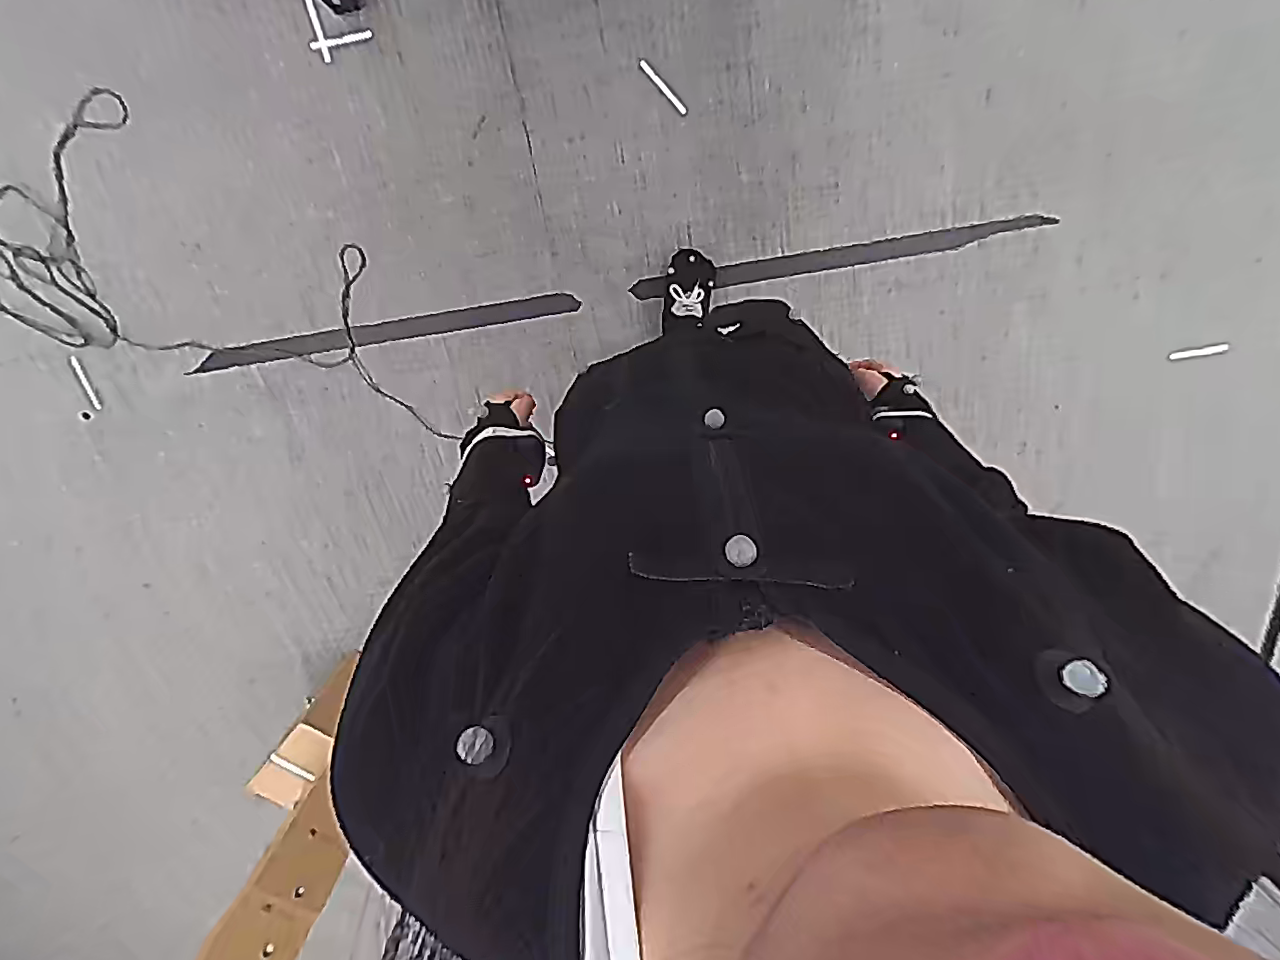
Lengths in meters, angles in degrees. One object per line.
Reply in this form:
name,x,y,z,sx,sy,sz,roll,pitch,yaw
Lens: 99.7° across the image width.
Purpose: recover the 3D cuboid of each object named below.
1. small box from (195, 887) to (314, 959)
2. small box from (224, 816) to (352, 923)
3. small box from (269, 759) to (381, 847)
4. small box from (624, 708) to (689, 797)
small box,-0.825,1.003,1.130,0.168,0.176,0.179,37,106,-13
small box,-0.826,0.950,1.284,0.168,0.176,0.179,37,106,-13
small box,-0.826,0.891,1.437,0.168,0.176,0.179,37,105,-13
small box,0.053,0.884,1.765,0.168,0.176,0.179,-19,109,4
